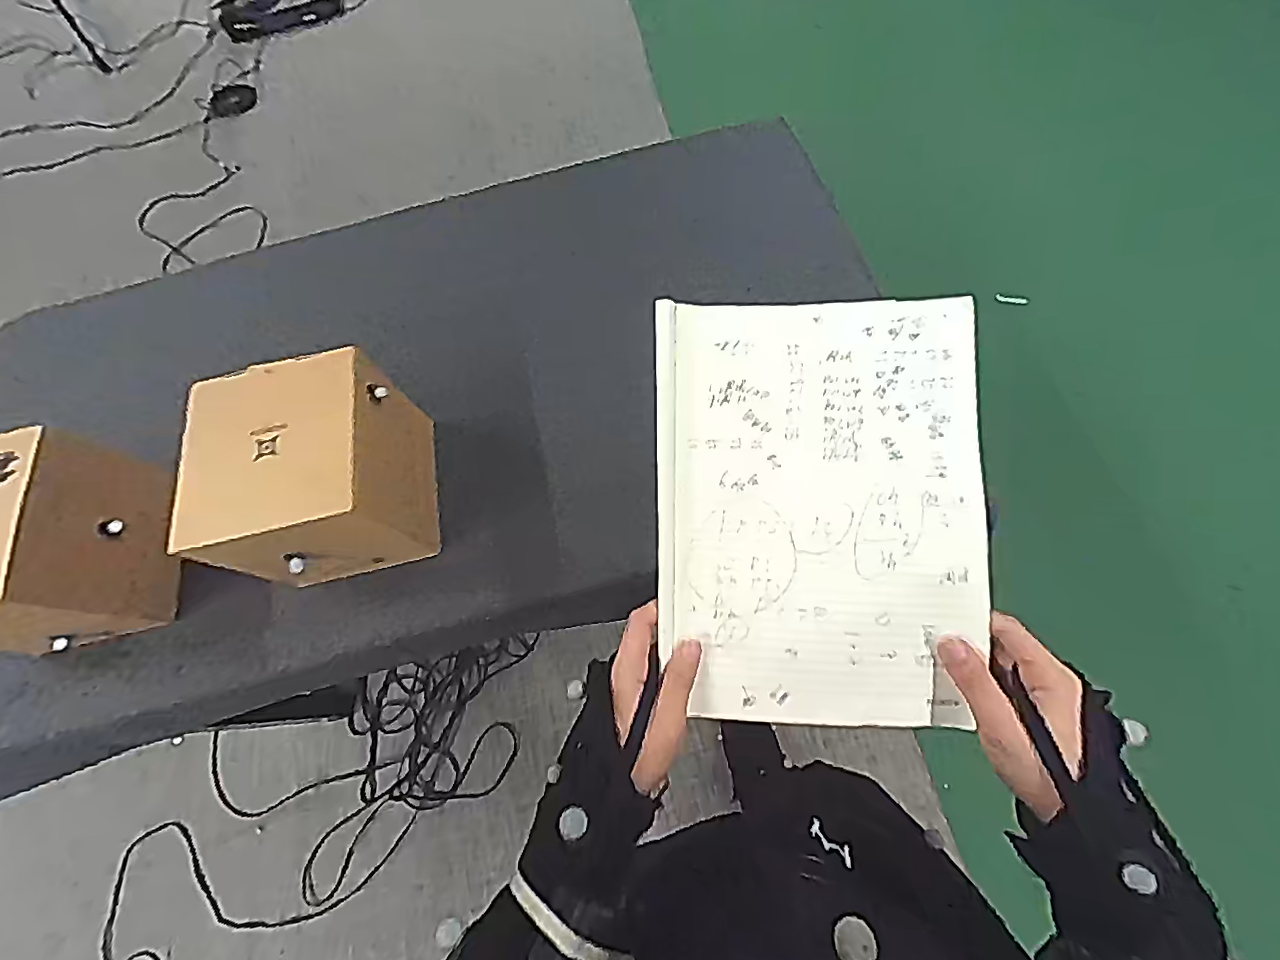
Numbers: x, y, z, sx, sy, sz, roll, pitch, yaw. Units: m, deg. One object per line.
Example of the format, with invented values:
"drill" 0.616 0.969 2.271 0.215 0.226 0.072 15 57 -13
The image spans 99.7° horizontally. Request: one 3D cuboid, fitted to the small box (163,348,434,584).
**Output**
"small box" -0.327 0.000 0.555 0.168 0.176 0.179 -13 67 2
